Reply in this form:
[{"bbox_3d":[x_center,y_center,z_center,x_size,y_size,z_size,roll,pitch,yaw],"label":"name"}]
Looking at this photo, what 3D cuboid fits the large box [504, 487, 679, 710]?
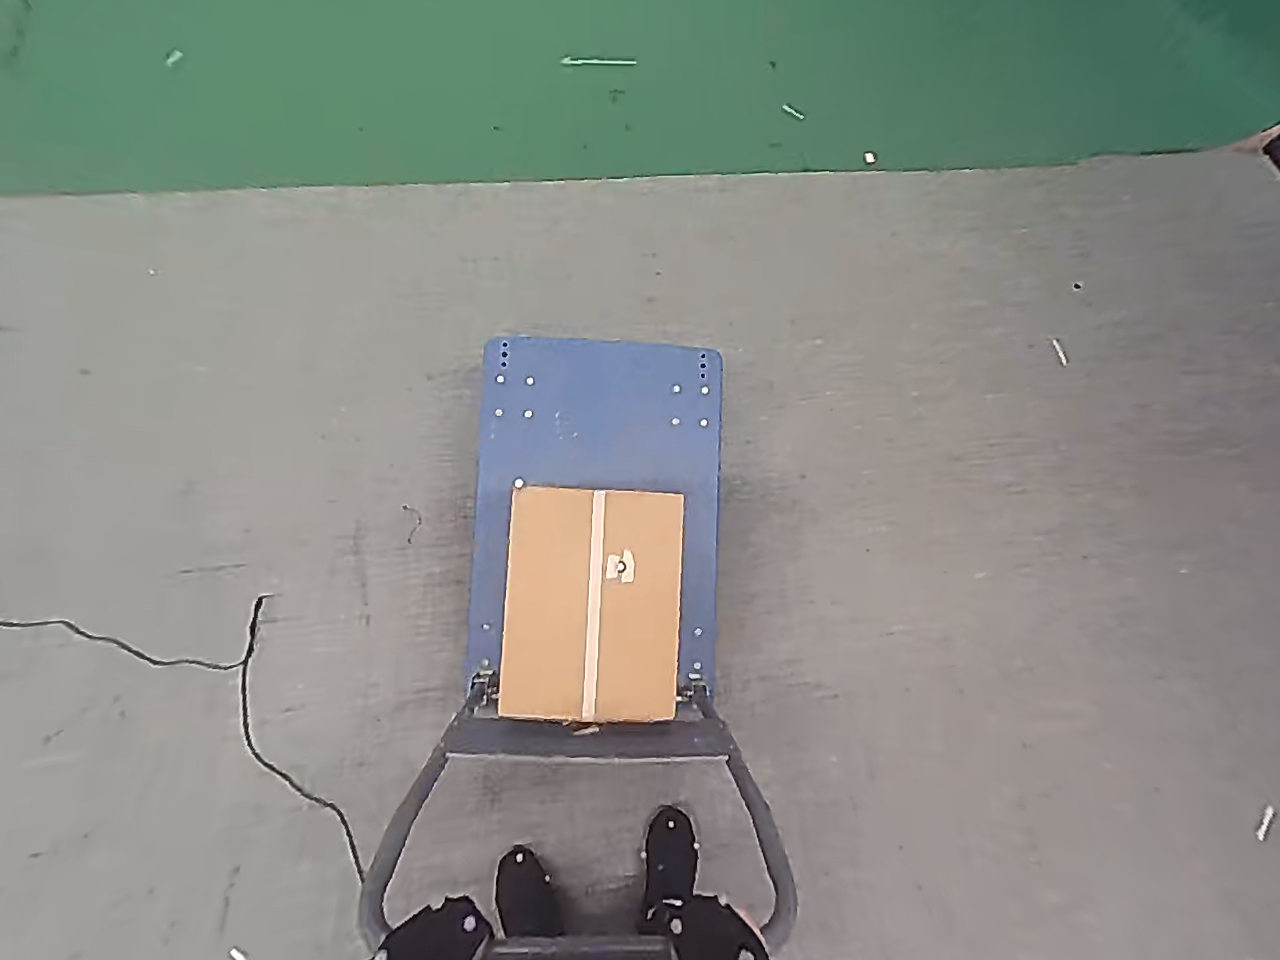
[{"bbox_3d":[-0.092,0.233,1.135,0.320,0.320,0.408,3,84,-4],"label":"large box"}]
